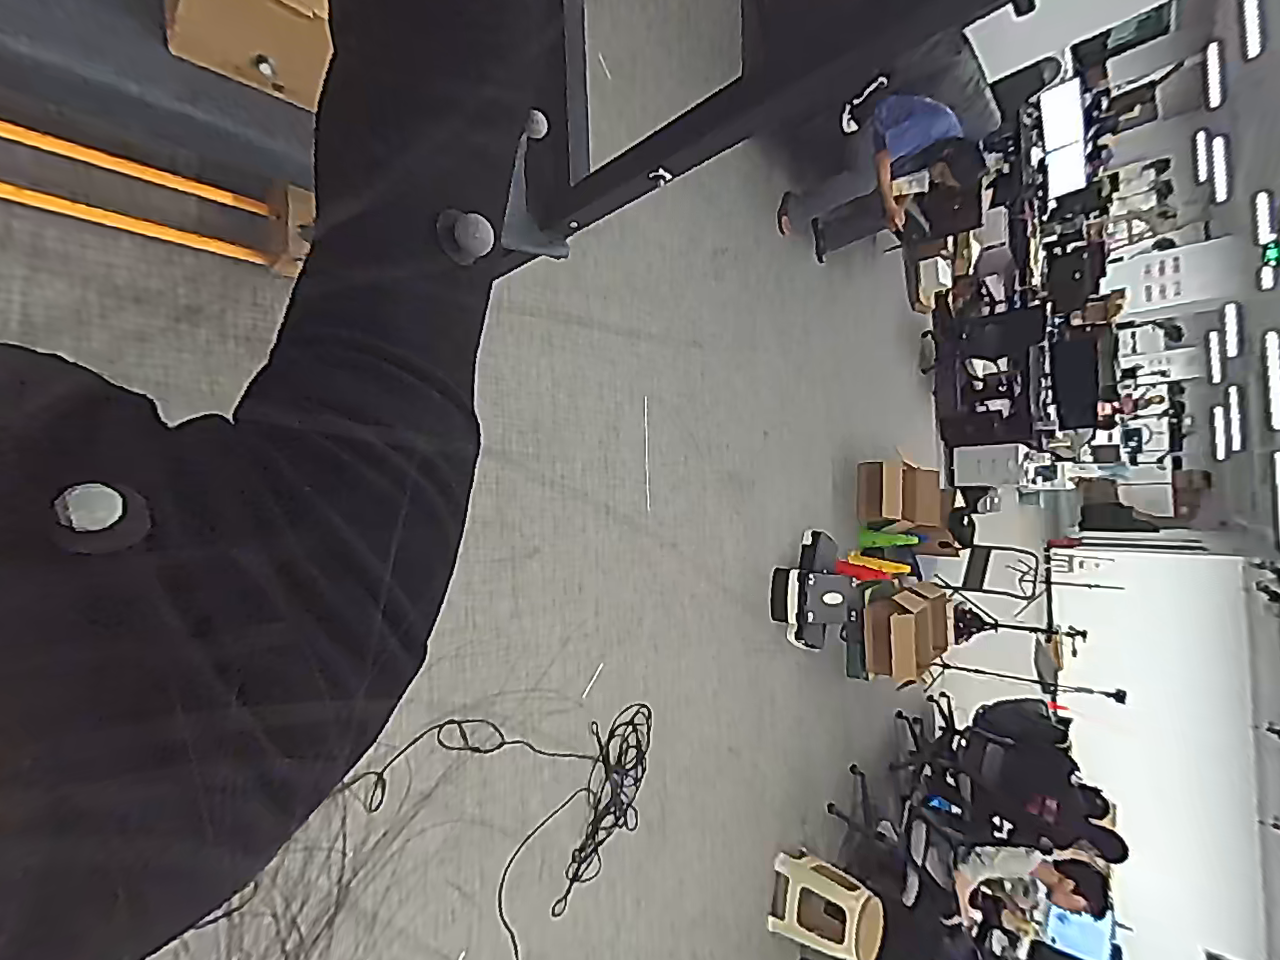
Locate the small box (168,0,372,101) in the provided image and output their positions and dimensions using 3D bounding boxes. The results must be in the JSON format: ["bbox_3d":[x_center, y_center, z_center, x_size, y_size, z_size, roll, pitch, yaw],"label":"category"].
[{"bbox_3d":[-0.430,-0.597,0.623,0.168,0.176,0.179,-3,89,-46],"label":"small box"}]
